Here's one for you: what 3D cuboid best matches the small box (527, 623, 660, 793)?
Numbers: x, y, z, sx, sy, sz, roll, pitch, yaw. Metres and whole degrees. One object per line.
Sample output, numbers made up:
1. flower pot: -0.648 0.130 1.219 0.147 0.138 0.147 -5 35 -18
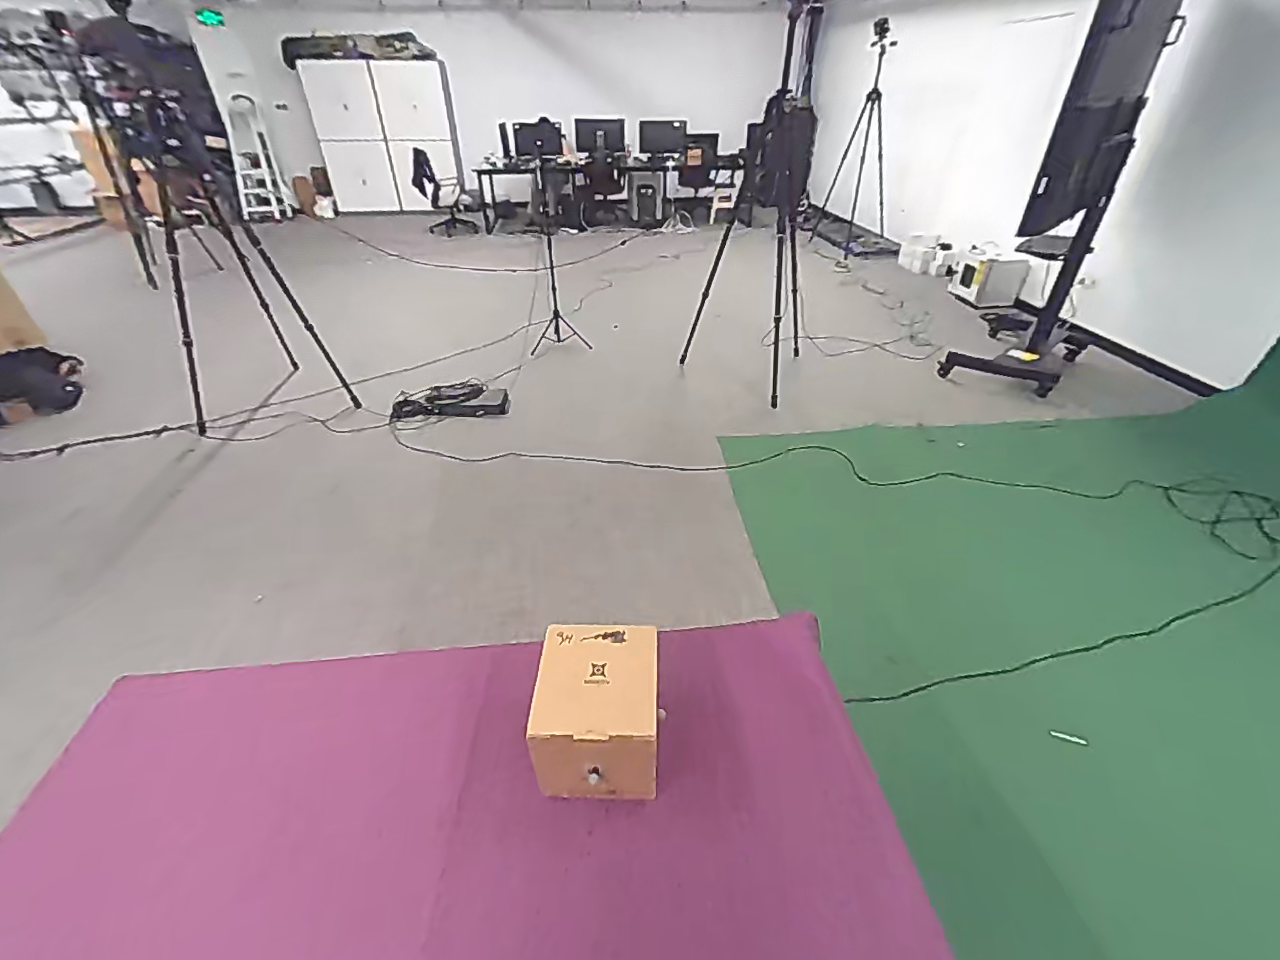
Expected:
1. small box: -0.056 0.332 0.789 0.168 0.176 0.179 0 37 2
